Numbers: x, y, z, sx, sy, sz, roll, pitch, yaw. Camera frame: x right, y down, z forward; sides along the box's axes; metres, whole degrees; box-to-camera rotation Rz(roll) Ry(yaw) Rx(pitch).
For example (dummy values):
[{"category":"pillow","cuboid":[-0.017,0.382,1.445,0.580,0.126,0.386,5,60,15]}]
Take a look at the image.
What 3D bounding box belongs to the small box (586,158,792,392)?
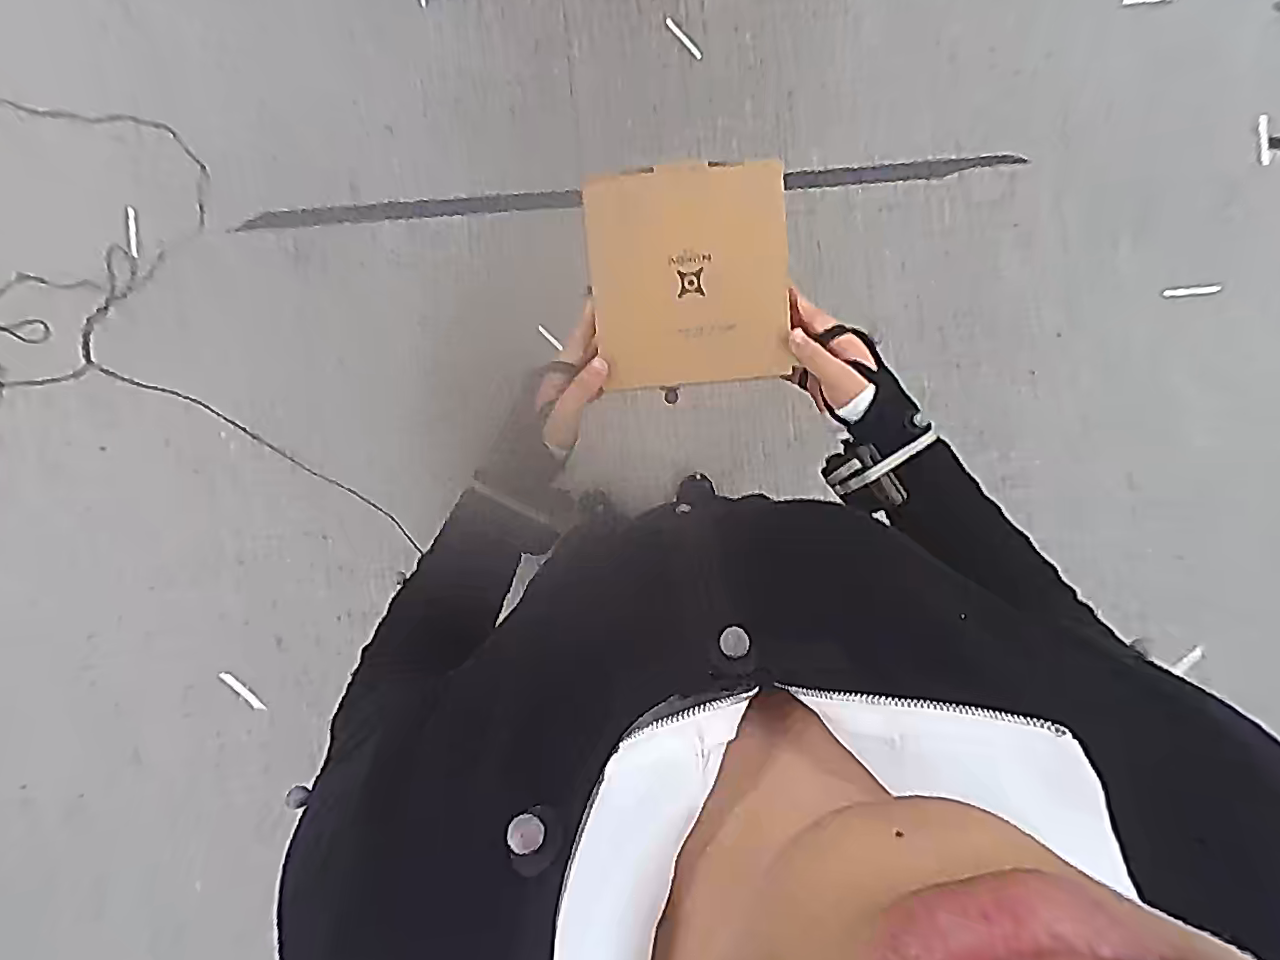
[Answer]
[{"category":"small box","cuboid":[0.039,-0.181,0.527,0.168,0.176,0.179,-6,99,-1]}]
